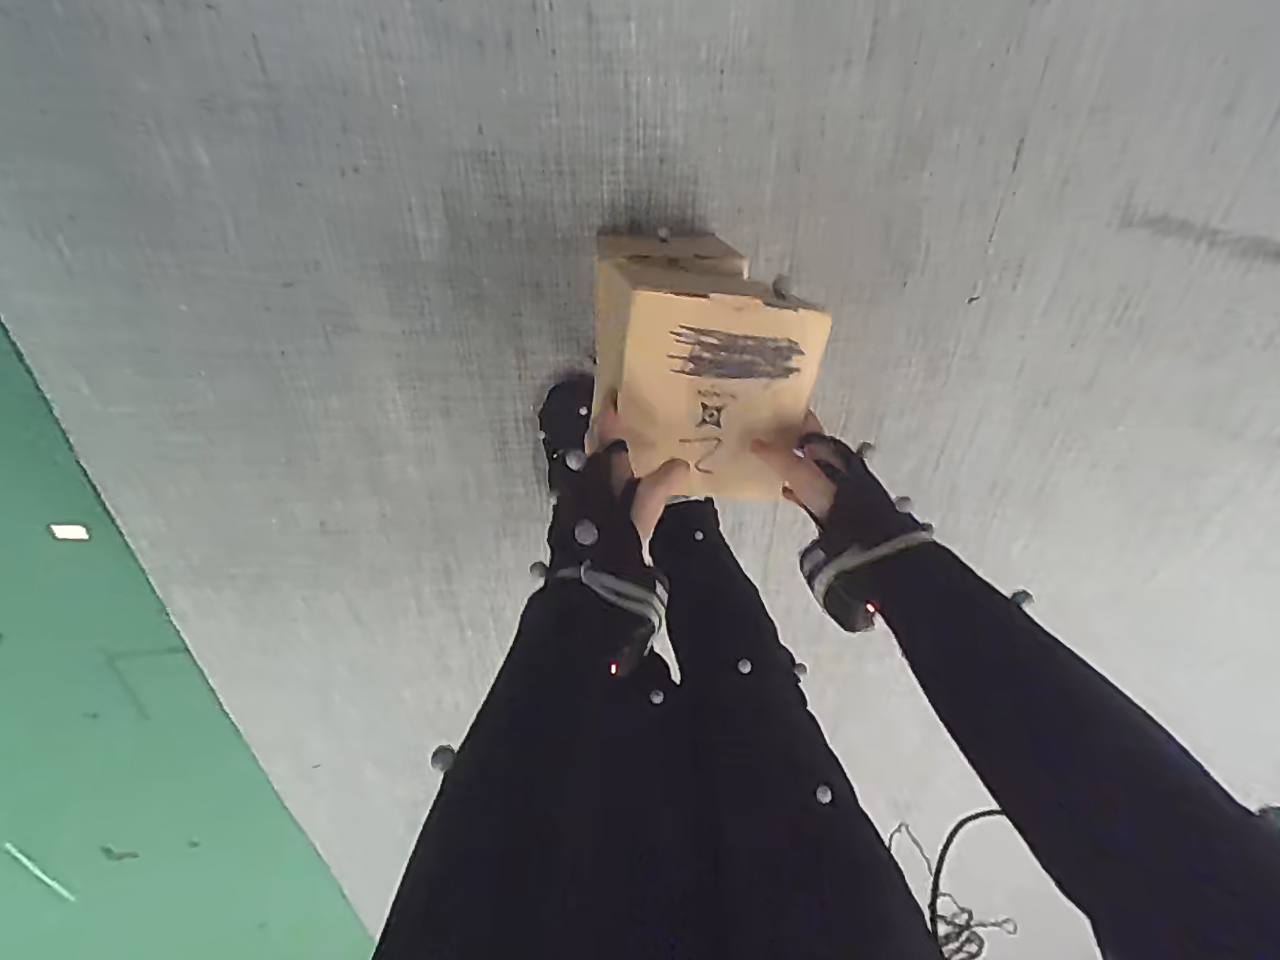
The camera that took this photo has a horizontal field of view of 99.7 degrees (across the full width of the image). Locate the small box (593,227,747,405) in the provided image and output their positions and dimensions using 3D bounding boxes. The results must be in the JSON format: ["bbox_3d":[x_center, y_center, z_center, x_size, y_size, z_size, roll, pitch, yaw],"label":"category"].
[{"bbox_3d":[0.025,-0.211,0.688,0.168,0.176,0.179,-1,123,-5],"label":"small box"}]
